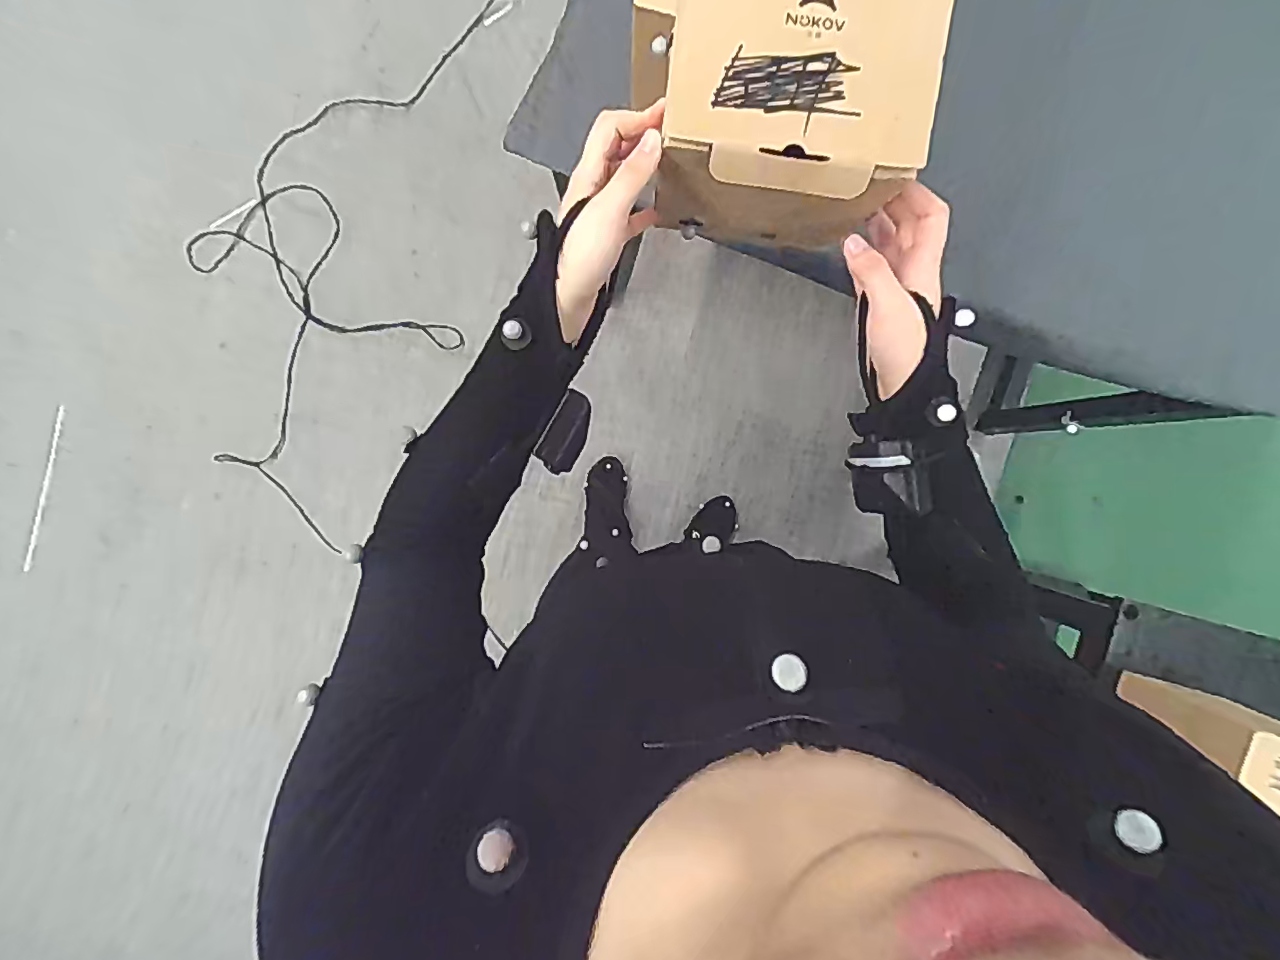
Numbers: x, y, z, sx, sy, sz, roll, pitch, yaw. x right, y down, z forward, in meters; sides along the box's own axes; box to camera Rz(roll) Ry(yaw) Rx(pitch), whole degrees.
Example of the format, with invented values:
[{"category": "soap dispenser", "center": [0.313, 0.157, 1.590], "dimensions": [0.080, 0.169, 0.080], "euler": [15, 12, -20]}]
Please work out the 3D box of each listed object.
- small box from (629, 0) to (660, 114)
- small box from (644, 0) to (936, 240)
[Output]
[{"category": "small box", "center": [0.091, -0.558, 0.657], "dimensions": [0.179, 0.176, 0.168], "euler": [15, 90, 0]}, {"category": "small box", "center": [0.096, -0.297, 0.402], "dimensions": [0.168, 0.176, 0.179], "euler": [7, 98, 0]}]
